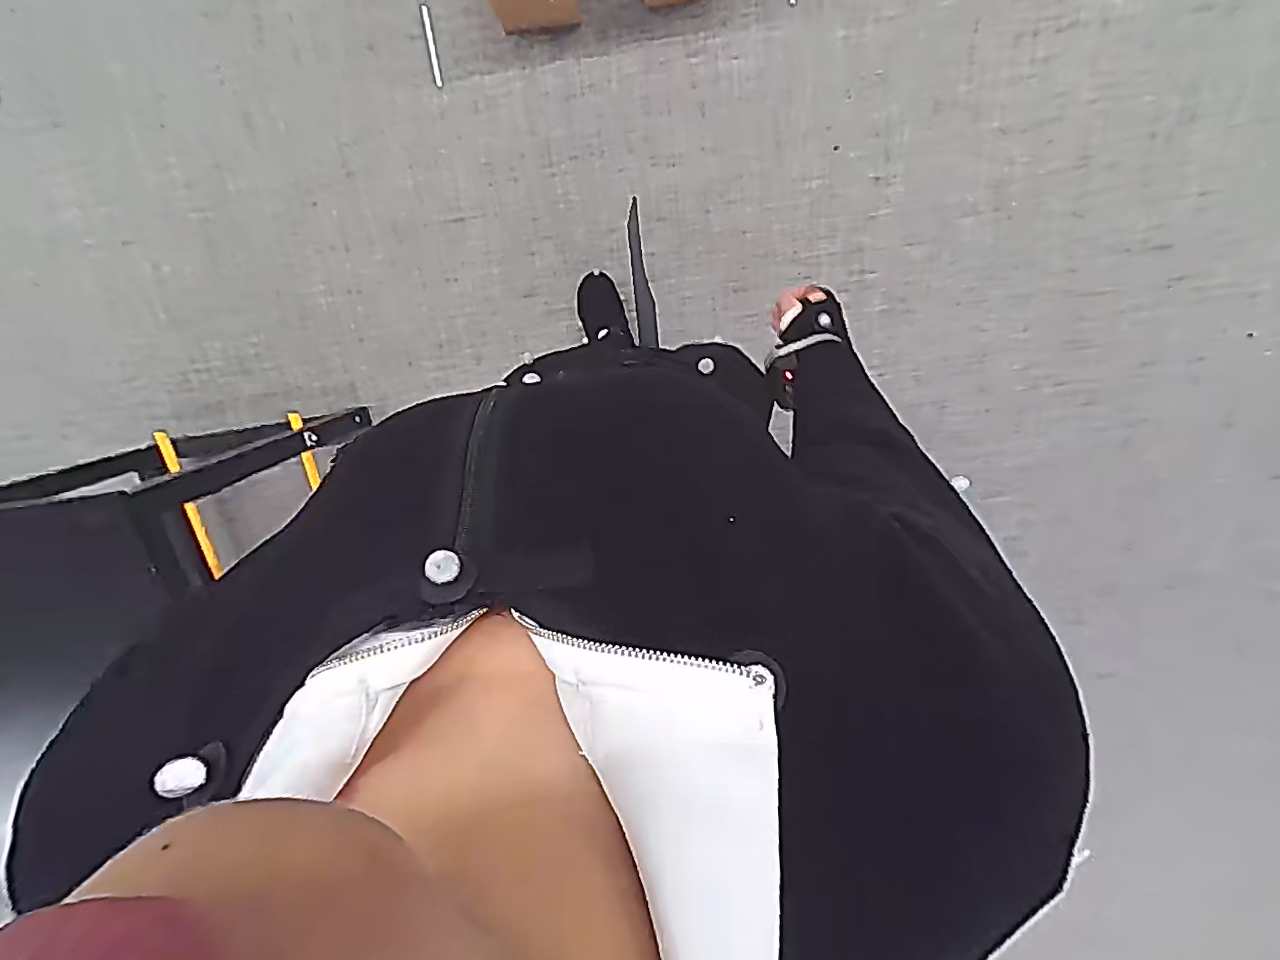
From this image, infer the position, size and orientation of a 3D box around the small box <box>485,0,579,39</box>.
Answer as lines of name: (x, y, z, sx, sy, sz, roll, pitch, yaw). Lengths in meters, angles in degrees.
small box: (-0.223, -1.043, 1.105, 0.179, 0.176, 0.168, -5, 107, 3)

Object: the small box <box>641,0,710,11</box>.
small box: (0.071, -1.090, 1.087, 0.168, 0.176, 0.179, -9, 108, 4)
